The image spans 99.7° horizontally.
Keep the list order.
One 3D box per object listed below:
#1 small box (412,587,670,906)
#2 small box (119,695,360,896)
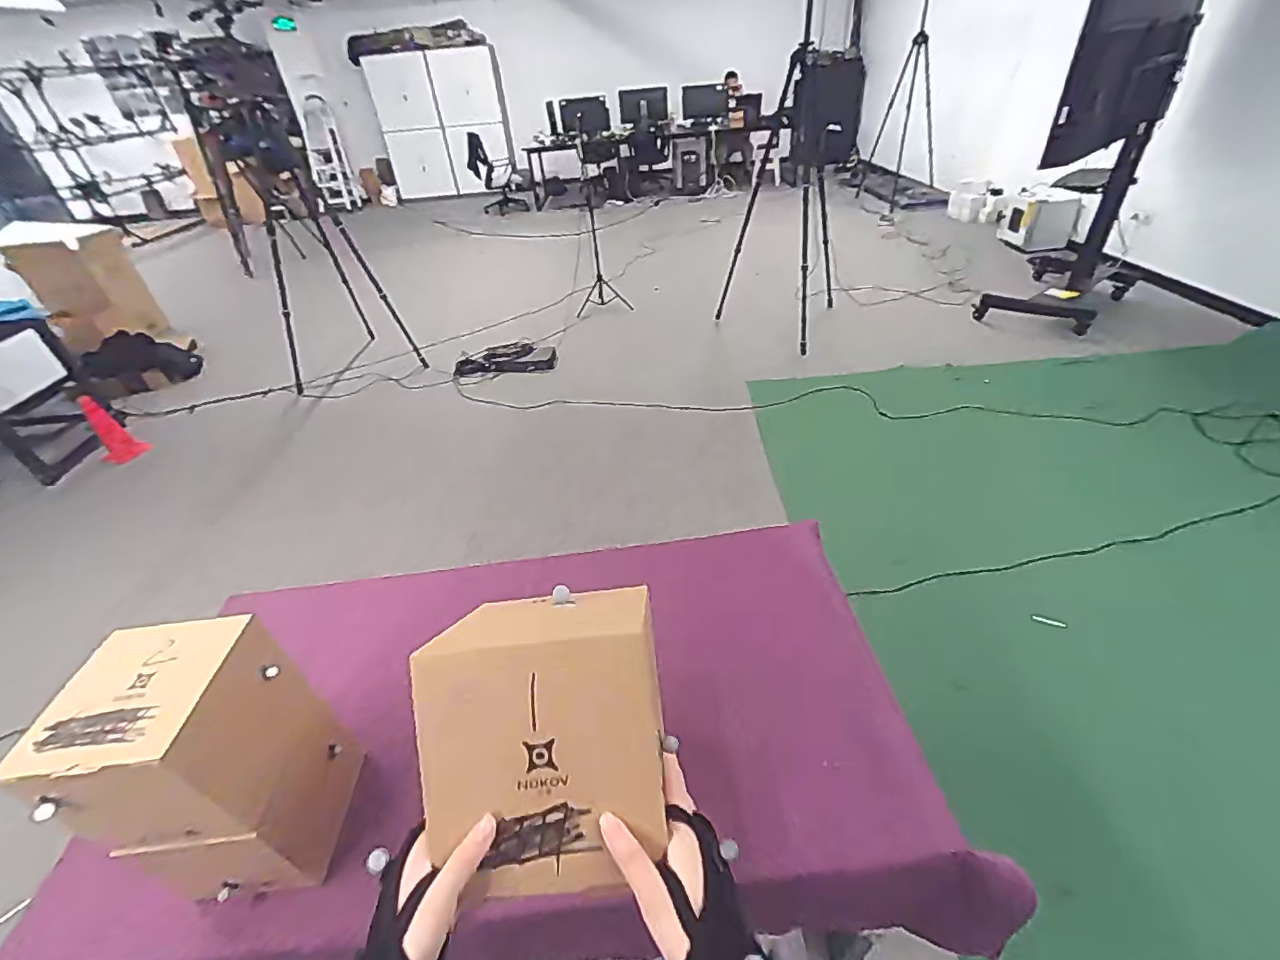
[{"bbox_3d":[-0.064,0.197,0.446,0.168,0.179,0.176,-6,0,1],"label":"small box"},{"bbox_3d":[-0.503,0.416,0.719,0.168,0.176,0.179,-7,39,0],"label":"small box"}]
